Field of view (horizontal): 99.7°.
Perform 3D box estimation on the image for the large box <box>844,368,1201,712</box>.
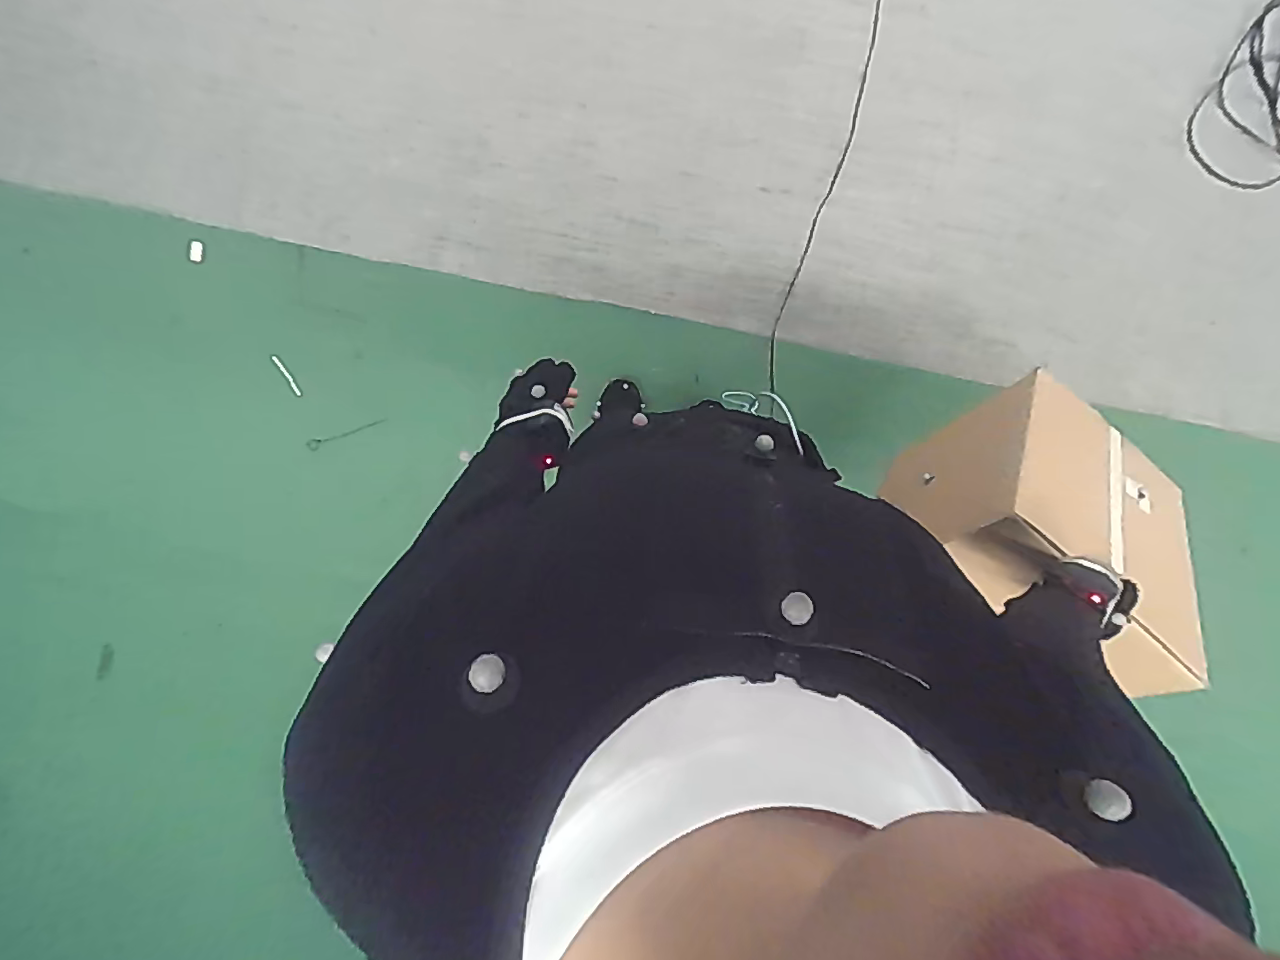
[{"bbox_3d":[0.600,0.098,0.889,0.320,0.408,0.320,43,141,0],"label":"large box"}]
